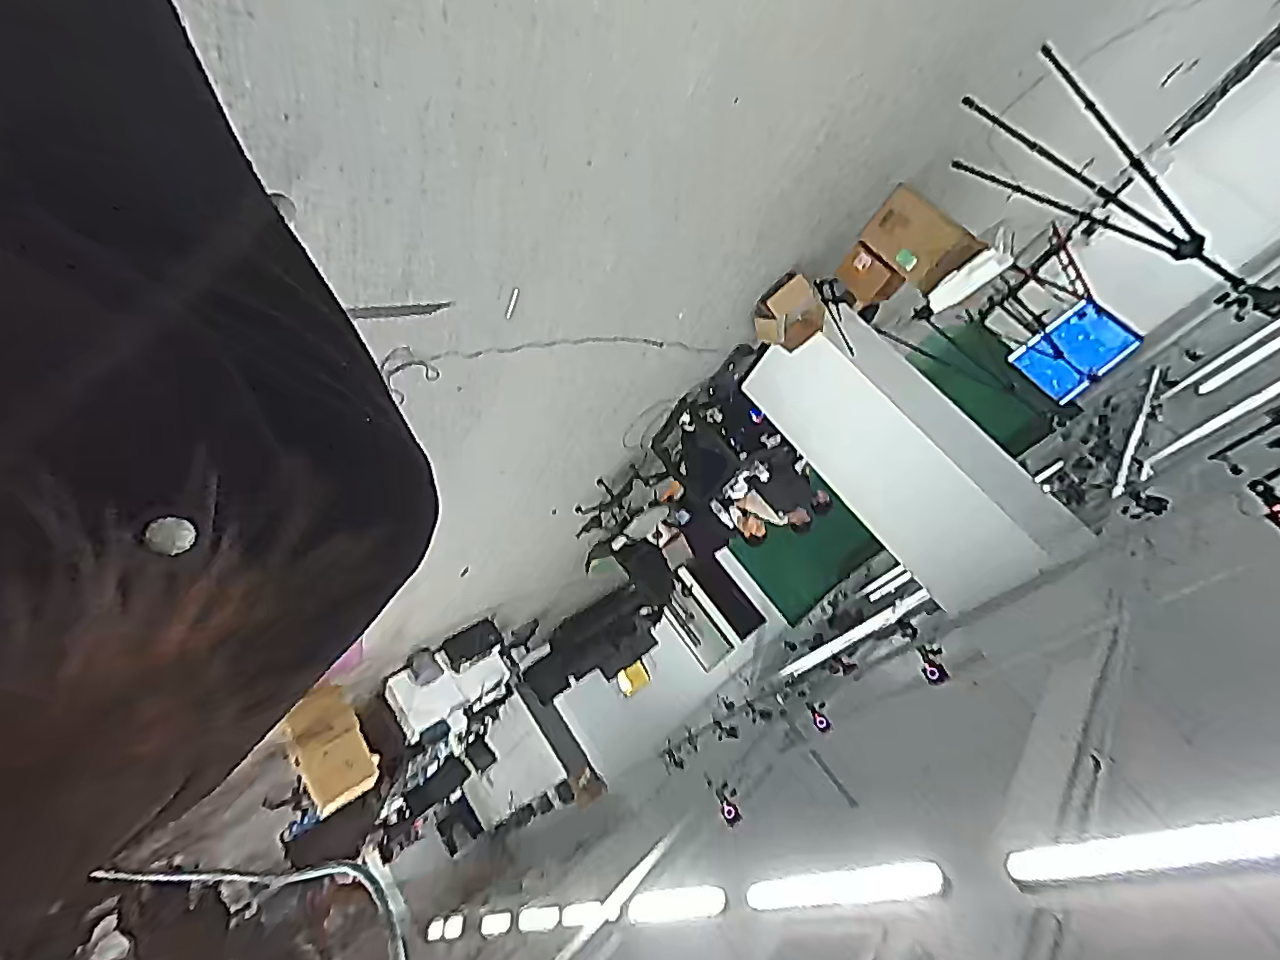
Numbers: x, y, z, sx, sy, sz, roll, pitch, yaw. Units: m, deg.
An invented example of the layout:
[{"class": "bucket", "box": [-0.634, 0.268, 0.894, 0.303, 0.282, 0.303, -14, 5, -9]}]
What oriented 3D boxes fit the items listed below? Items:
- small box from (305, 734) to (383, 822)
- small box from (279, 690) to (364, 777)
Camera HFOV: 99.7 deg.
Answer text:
[{"class": "small box", "box": [-0.945, 0.942, 1.720, 0.168, 0.176, 0.179, -22, 157, -43]}, {"class": "small box", "box": [-1.044, 0.823, 1.770, 0.179, 0.176, 0.168, -18, 153, -49]}]
